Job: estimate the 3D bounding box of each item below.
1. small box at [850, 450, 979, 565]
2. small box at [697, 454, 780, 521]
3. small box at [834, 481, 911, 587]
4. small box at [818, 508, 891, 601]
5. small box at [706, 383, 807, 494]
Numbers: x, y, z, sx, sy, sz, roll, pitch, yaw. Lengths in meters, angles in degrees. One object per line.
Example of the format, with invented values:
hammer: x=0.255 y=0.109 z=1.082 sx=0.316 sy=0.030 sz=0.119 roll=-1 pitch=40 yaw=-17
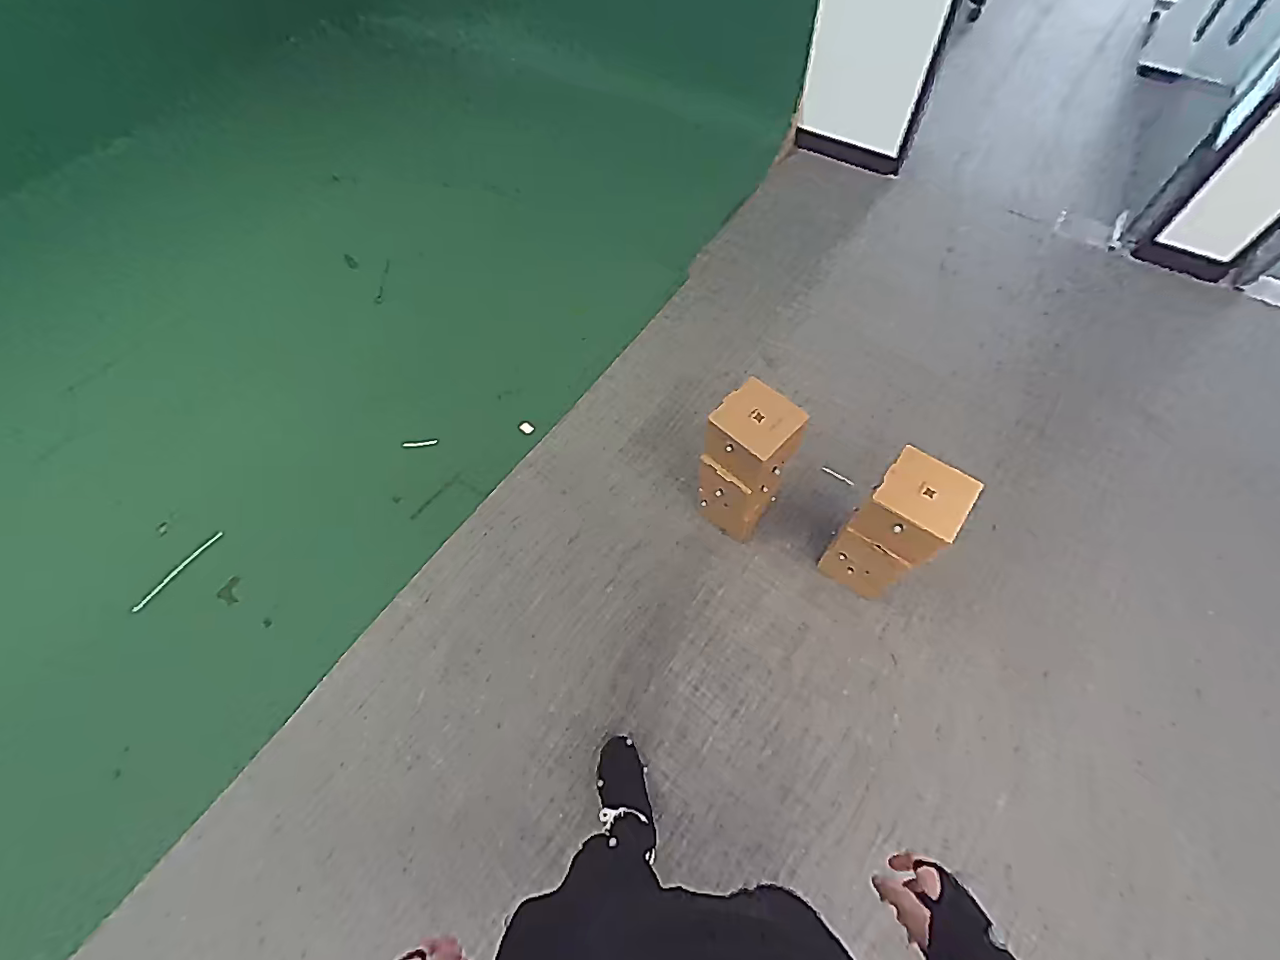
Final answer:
small box: x=0.606 y=0.070 z=1.213 sx=0.179 sy=0.176 sz=0.168 roll=33 pitch=69 yaw=20
small box: x=0.274 y=-0.018 z=1.471 sx=0.168 sy=0.176 sz=0.179 roll=39 pitch=72 yaw=22
small box: x=0.610 y=0.142 z=1.359 sx=0.168 sy=0.176 sz=0.179 roll=34 pitch=69 yaw=20
small box: x=0.622 y=0.214 z=1.505 sx=0.179 sy=0.176 sz=0.168 roll=33 pitch=70 yaw=19
small box: x=0.275 y=-0.096 z=1.328 sx=0.168 sy=0.176 sz=0.179 roll=-42 pitch=67 yaw=-16
